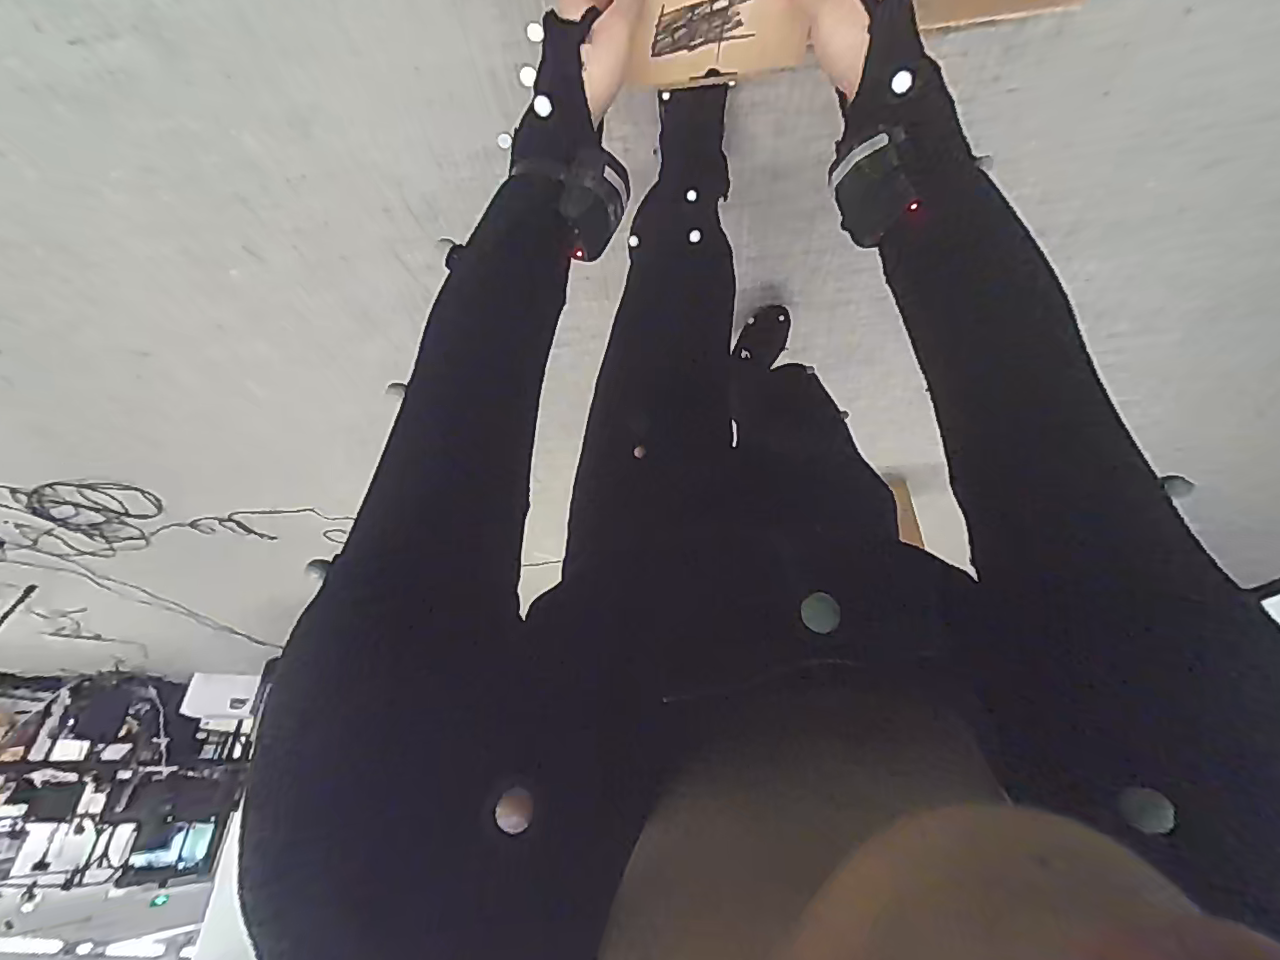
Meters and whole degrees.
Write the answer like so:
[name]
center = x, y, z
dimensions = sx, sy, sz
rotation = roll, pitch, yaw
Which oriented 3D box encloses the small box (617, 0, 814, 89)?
[small box]
center = 0.060, -0.480, 0.462
dimensions = 0.168, 0.176, 0.179
rotation = -4, 149, 5
